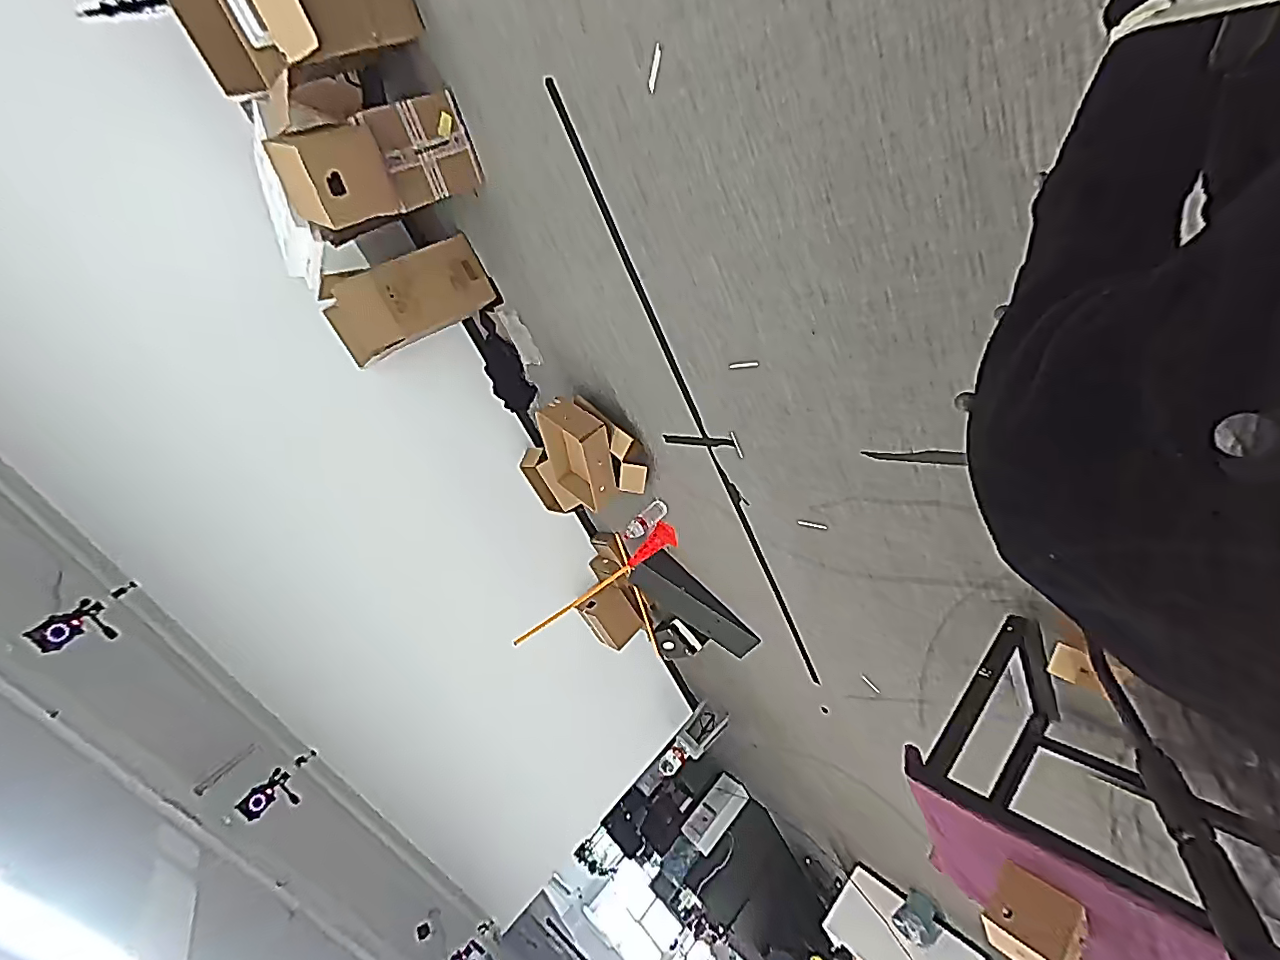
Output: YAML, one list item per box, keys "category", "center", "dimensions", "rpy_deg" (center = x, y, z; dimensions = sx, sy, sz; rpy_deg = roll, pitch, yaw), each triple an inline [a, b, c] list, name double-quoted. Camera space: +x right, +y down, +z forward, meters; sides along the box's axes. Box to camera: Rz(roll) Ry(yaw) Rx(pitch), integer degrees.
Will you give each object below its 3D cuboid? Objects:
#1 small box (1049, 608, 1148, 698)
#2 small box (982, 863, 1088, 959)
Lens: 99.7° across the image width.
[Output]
- category: "small box"
  center: [1.408, 0.523, 1.665]
  dimensions: [0.179, 0.176, 0.168]
  rpy_deg: [25, 144, 41]
- category: "small box"
  center: [1.032, 1.151, 1.413]
  dimensions: [0.179, 0.176, 0.168]
  rpy_deg: [11, 135, 53]
